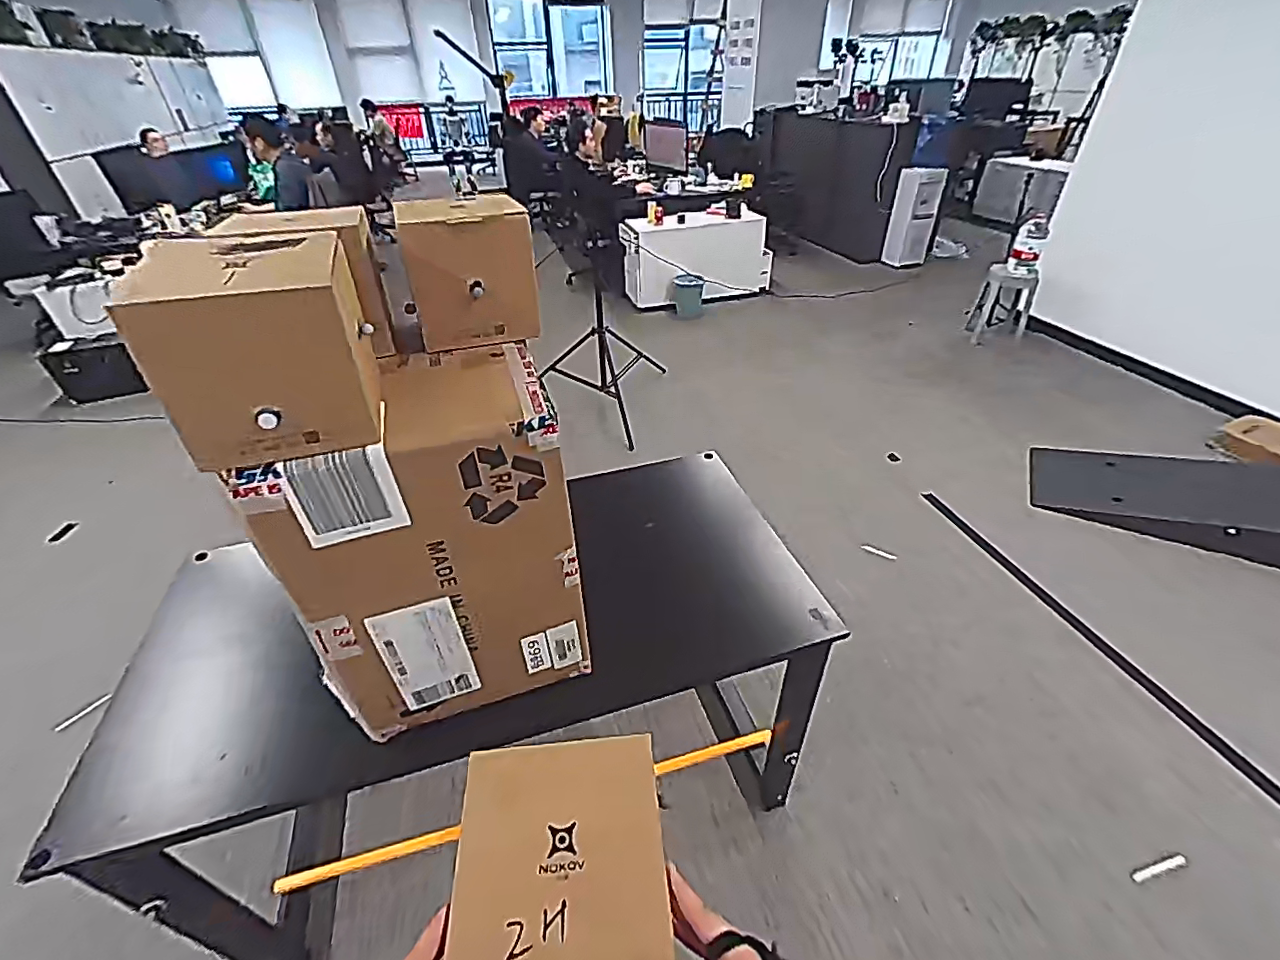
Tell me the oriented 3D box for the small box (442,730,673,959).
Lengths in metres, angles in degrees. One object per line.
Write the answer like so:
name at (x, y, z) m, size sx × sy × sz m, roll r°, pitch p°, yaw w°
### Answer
small box at (-0.065, 0.355, 0.486) m, size 0.168 × 0.176 × 0.179 m, roll -4°, pitch 40°, yaw -4°

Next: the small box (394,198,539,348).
small box at (-0.250, -0.300, 0.788) m, size 0.168 × 0.176 × 0.179 m, roll -12°, pitch 38°, yaw -17°

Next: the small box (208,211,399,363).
small box at (-0.439, -0.259, 0.739) m, size 0.168 × 0.176 × 0.179 m, roll -15°, pitch 37°, yaw -17°

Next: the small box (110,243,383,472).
small box at (-0.376, -0.132, 0.560) m, size 0.168 × 0.176 × 0.179 m, roll -13°, pitch 40°, yaw -18°
